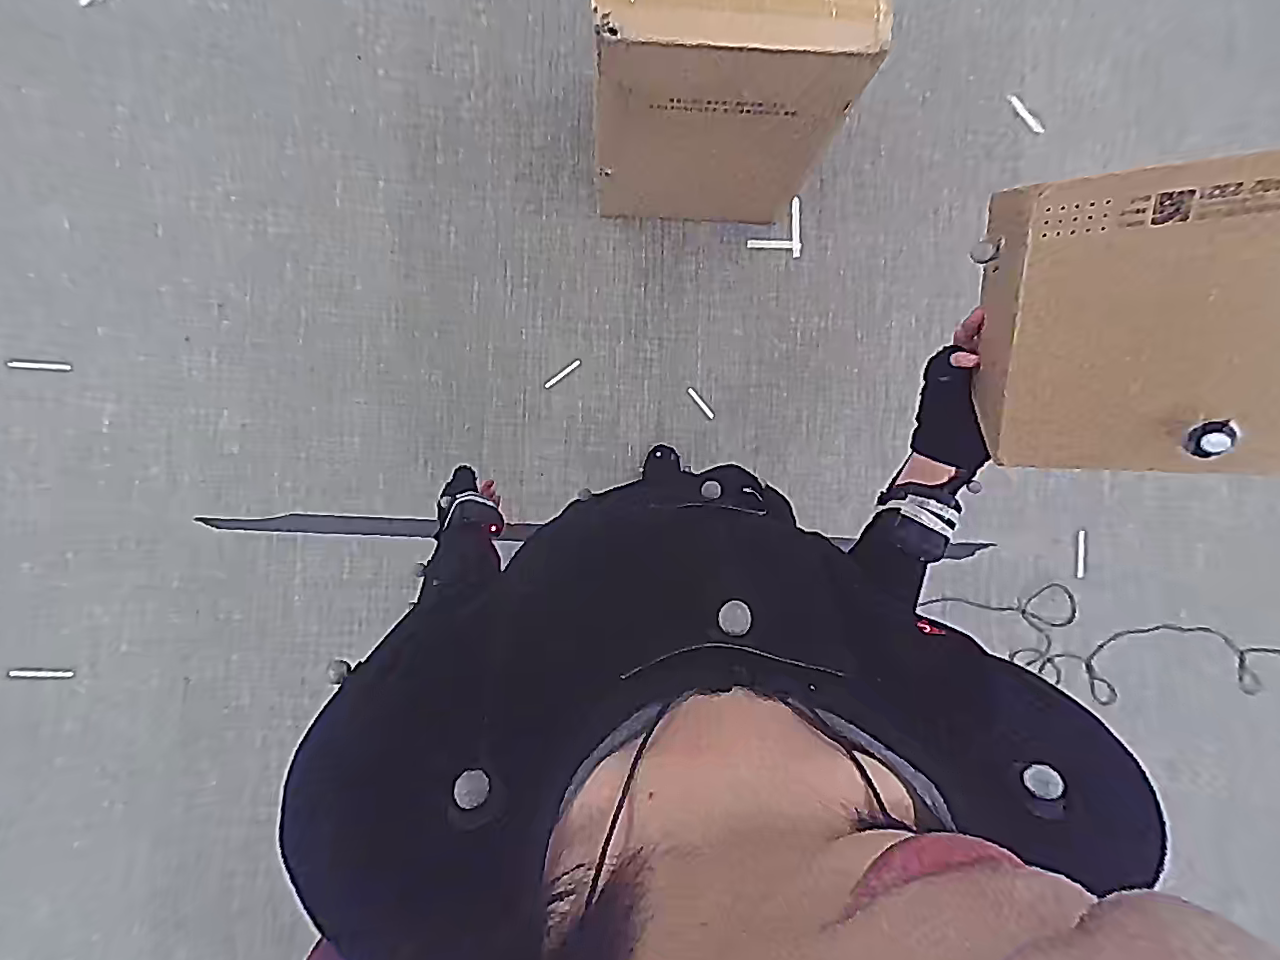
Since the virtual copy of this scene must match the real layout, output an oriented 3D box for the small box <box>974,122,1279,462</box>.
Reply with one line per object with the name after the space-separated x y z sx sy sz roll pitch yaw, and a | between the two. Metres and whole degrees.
0.329 -0.123 0.349 0.168 0.179 0.176 3 116 25 | small box
